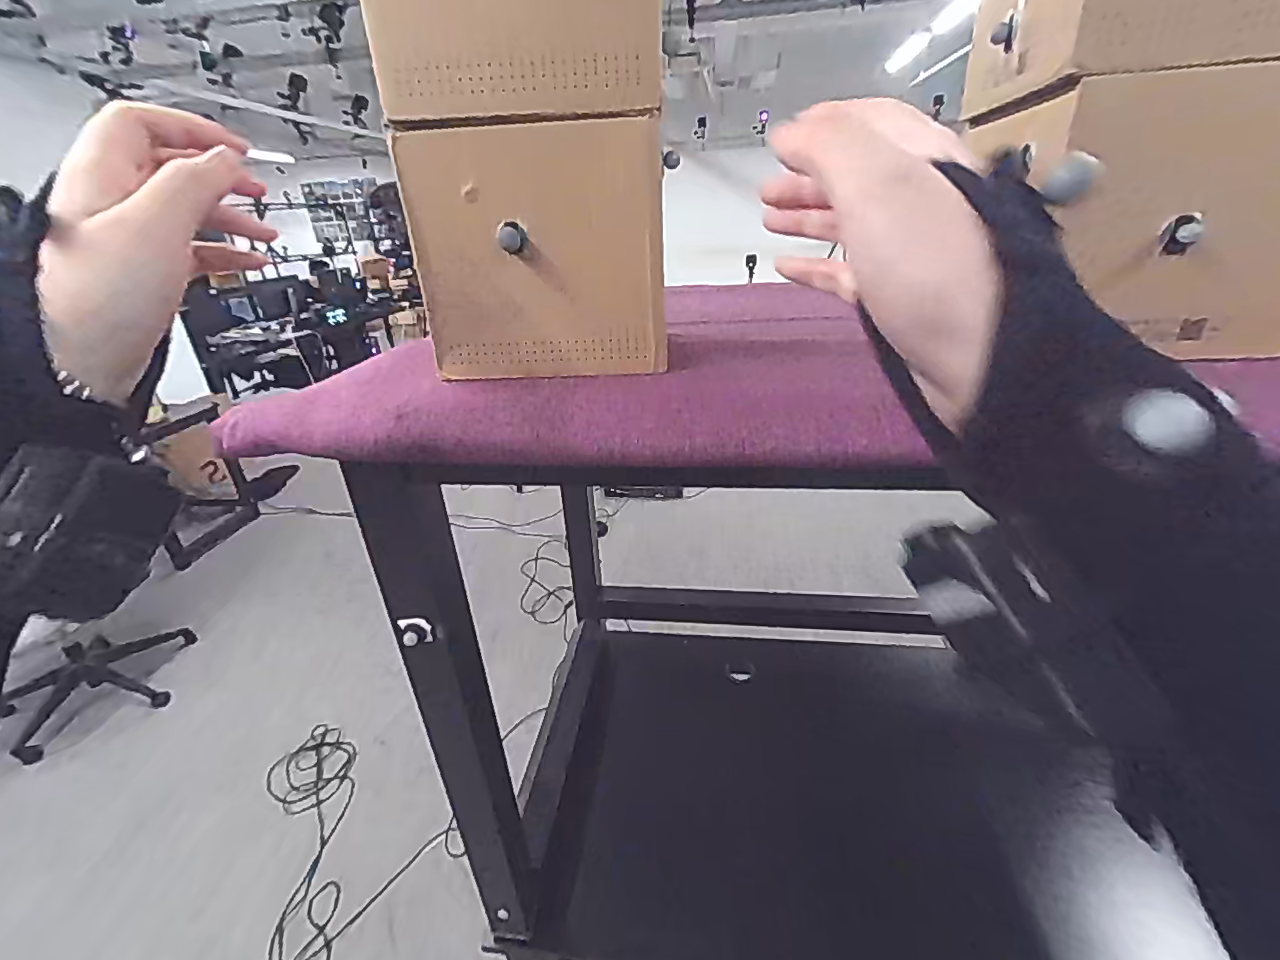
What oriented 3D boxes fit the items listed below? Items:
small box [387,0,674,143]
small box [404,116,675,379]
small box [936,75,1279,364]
[{"bbox_3d":[-0.067,-0.334,0.378,0.179,0.176,0.168,-1,27,1],"label":"small box"},{"bbox_3d":[-0.061,-0.187,0.453,0.179,0.176,0.168,-1,27,3],"label":"small box"},{"bbox_3d":[0.354,-0.189,0.416,0.168,0.176,0.179,2,26,8],"label":"small box"}]
